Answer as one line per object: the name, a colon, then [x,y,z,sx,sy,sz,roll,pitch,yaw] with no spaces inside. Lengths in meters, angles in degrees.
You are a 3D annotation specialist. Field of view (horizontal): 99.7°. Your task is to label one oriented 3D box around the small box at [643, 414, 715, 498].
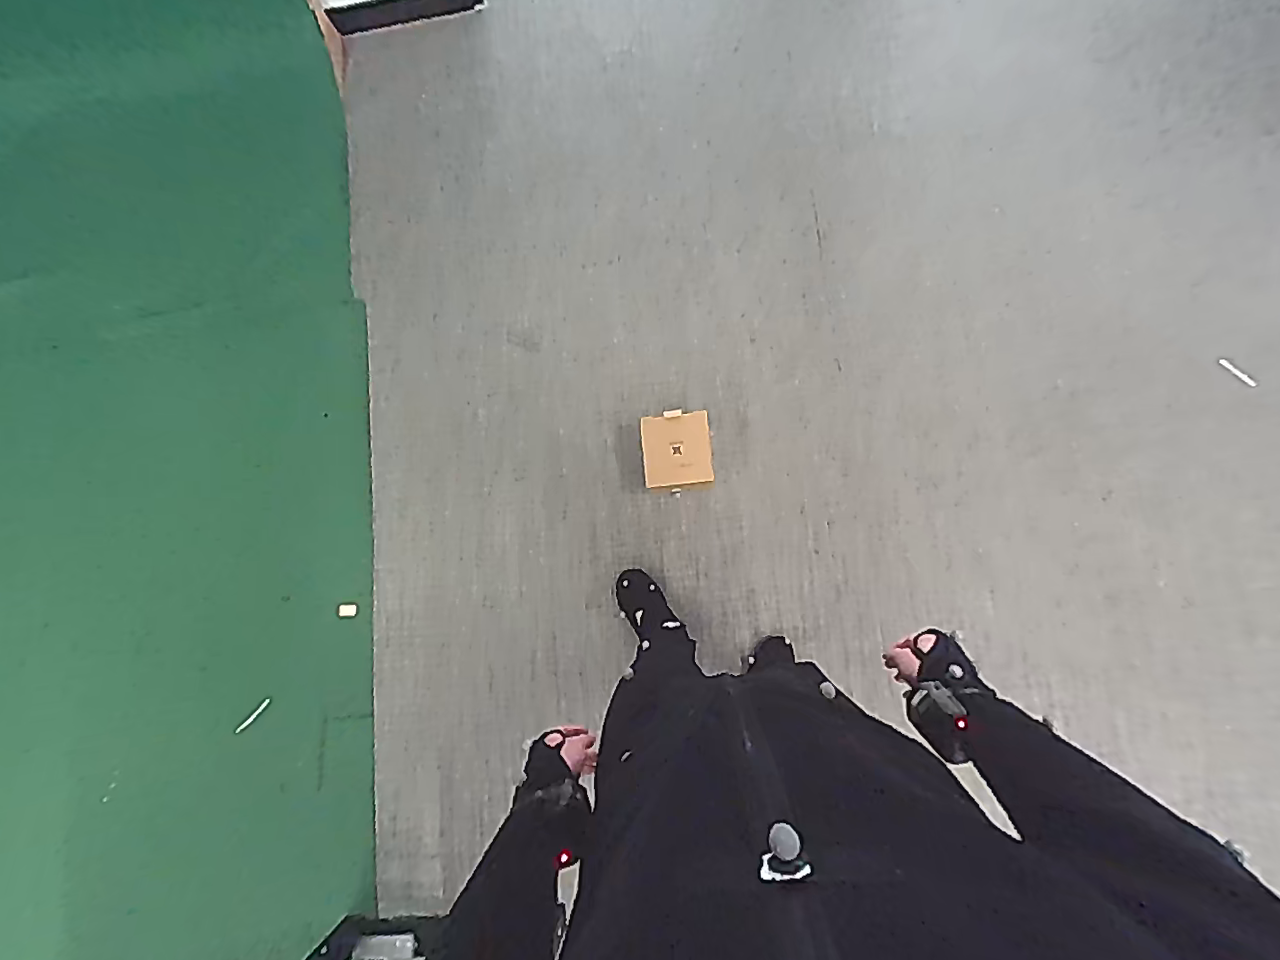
small box: [0.099,-0.056,1.365,0.168,0.176,0.179,-4,81,7]
